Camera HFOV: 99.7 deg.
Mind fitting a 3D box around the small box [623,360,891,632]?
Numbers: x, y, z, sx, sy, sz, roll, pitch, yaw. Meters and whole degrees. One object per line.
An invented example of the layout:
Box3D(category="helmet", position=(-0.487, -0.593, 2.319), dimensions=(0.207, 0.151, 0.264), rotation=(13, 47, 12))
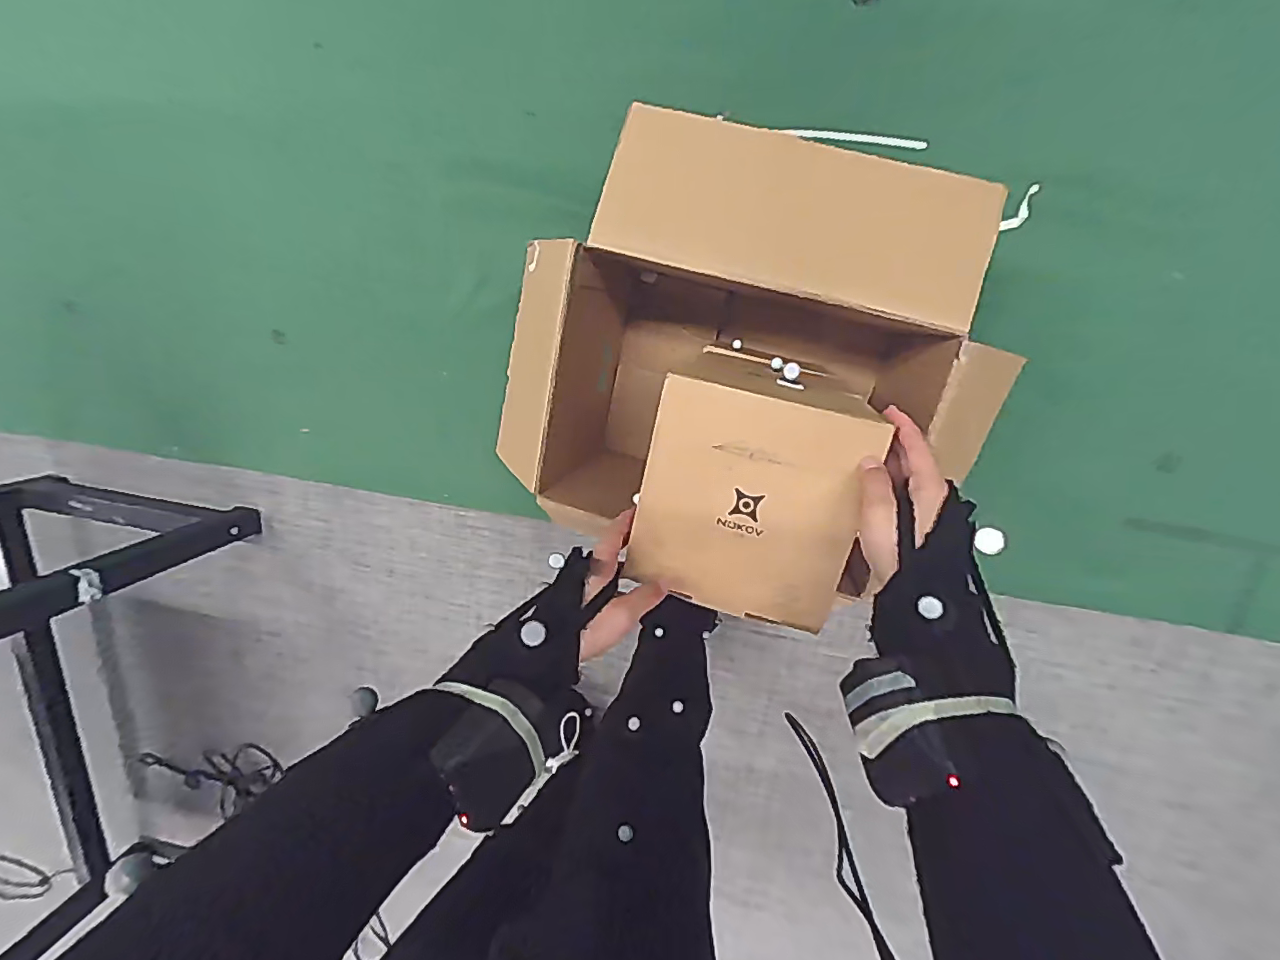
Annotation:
Box3D(category="small box", position=(0.097, -0.002, 0.483), dimensions=(0.168, 0.176, 0.179), rotation=(14, 107, 8))
